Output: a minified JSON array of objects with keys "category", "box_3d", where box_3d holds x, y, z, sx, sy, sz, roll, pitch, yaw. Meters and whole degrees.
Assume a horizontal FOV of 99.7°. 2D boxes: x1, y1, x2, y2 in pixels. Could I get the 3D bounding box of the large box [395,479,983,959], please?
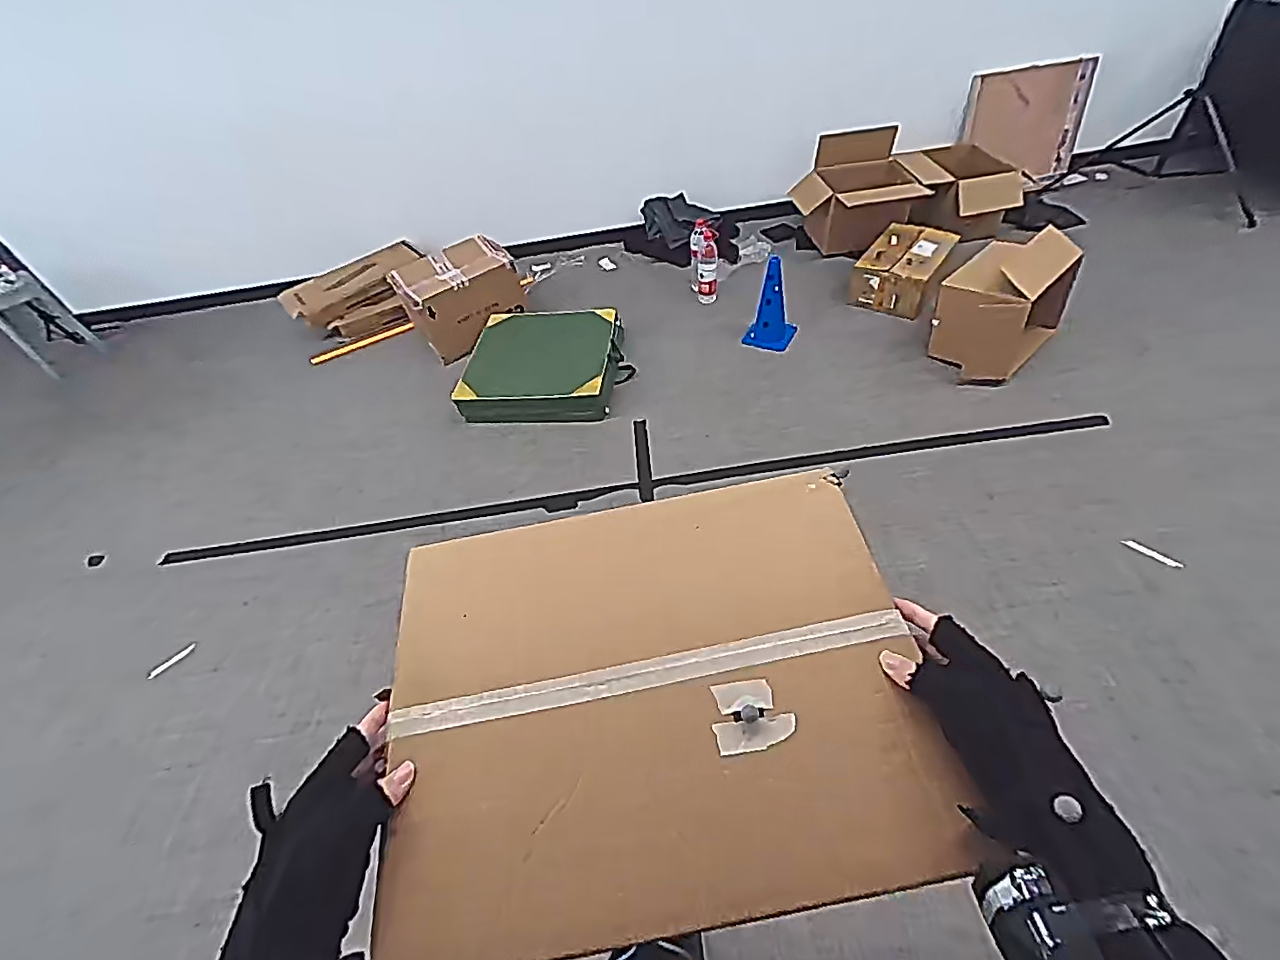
[{"category":"large box","box_3d":[0.024,0.244,0.558,0.408,0.320,0.320,-11,55,-1]}]
